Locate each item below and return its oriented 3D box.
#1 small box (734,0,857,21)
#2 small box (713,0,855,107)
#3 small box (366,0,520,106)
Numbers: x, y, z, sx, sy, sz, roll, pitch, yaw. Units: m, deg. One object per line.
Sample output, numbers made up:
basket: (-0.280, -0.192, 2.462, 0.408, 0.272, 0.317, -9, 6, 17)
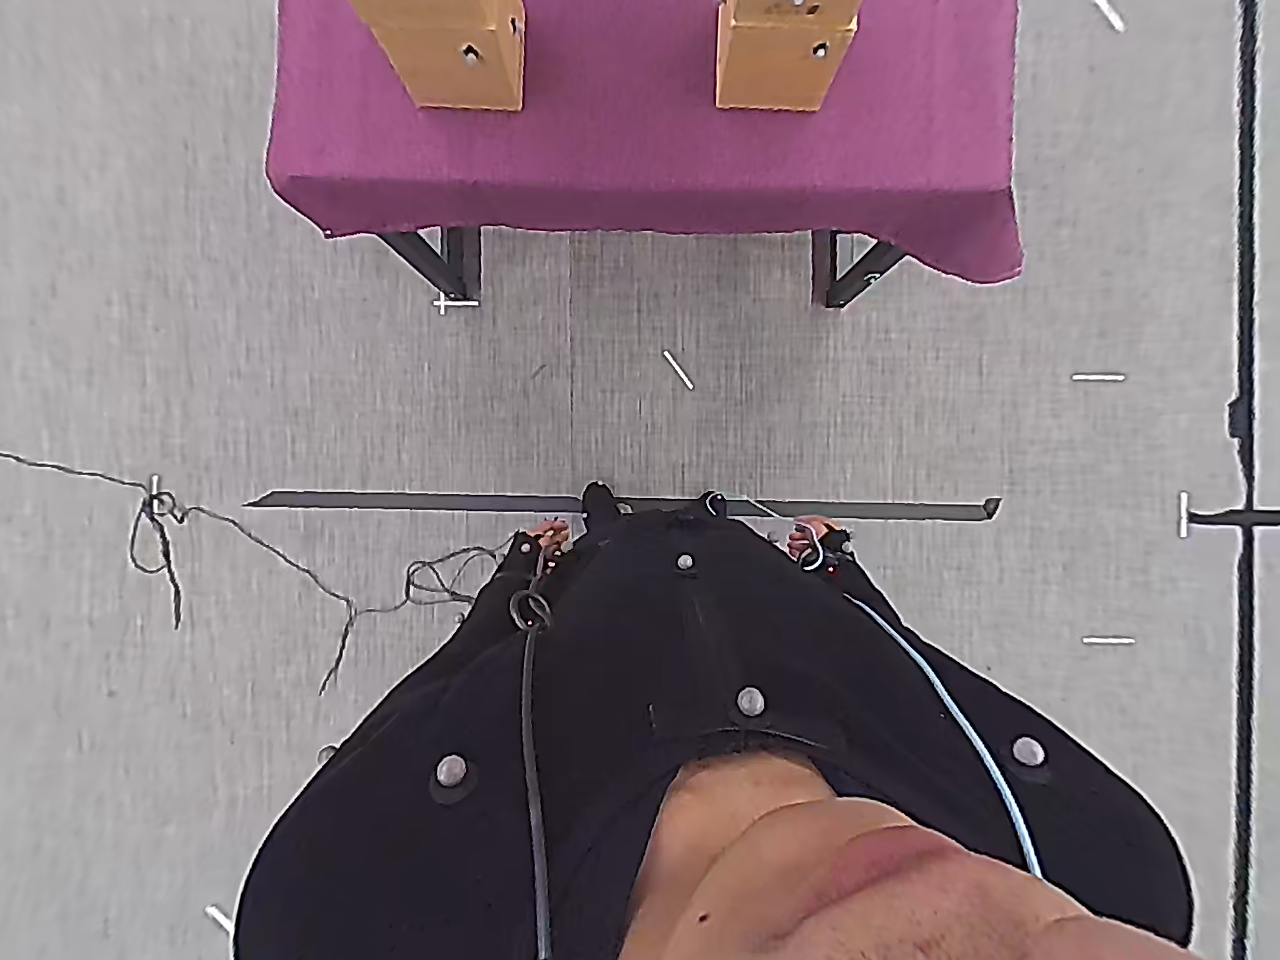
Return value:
small box: (0.207, -0.707, 0.648, 0.168, 0.176, 0.179, 2, 91, 0)
small box: (0.207, -0.698, 0.812, 0.179, 0.176, 0.168, 2, 91, -1)
small box: (-0.281, -0.696, 0.808, 0.179, 0.176, 0.168, 2, 91, 0)
